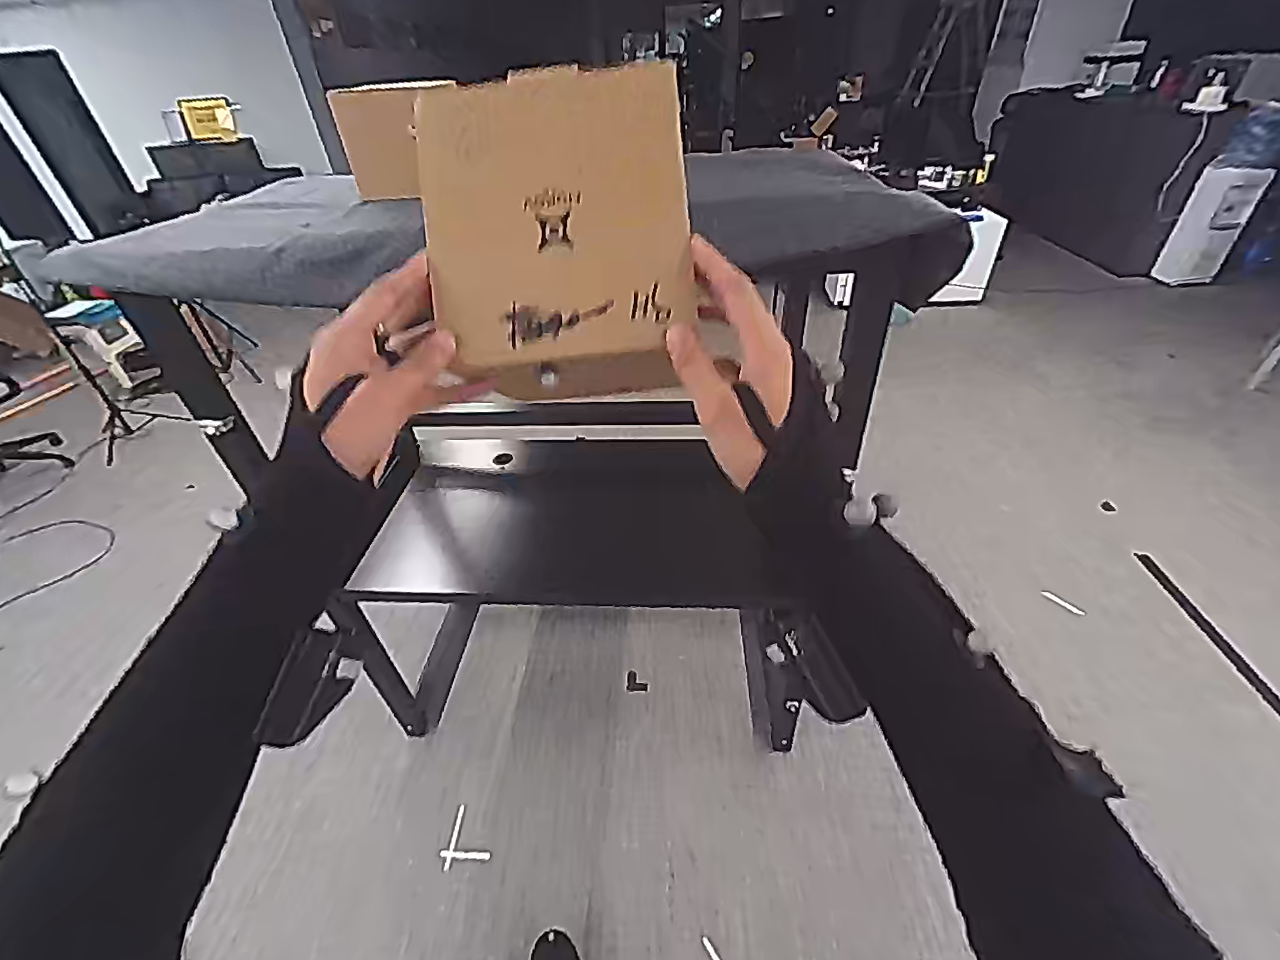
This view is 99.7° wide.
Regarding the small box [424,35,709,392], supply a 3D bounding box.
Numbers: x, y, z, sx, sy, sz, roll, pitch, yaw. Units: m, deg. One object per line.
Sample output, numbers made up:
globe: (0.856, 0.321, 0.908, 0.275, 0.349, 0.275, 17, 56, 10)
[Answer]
small box: (-0.041, -0.172, 0.404, 0.168, 0.179, 0.176, -5, 0, 4)
